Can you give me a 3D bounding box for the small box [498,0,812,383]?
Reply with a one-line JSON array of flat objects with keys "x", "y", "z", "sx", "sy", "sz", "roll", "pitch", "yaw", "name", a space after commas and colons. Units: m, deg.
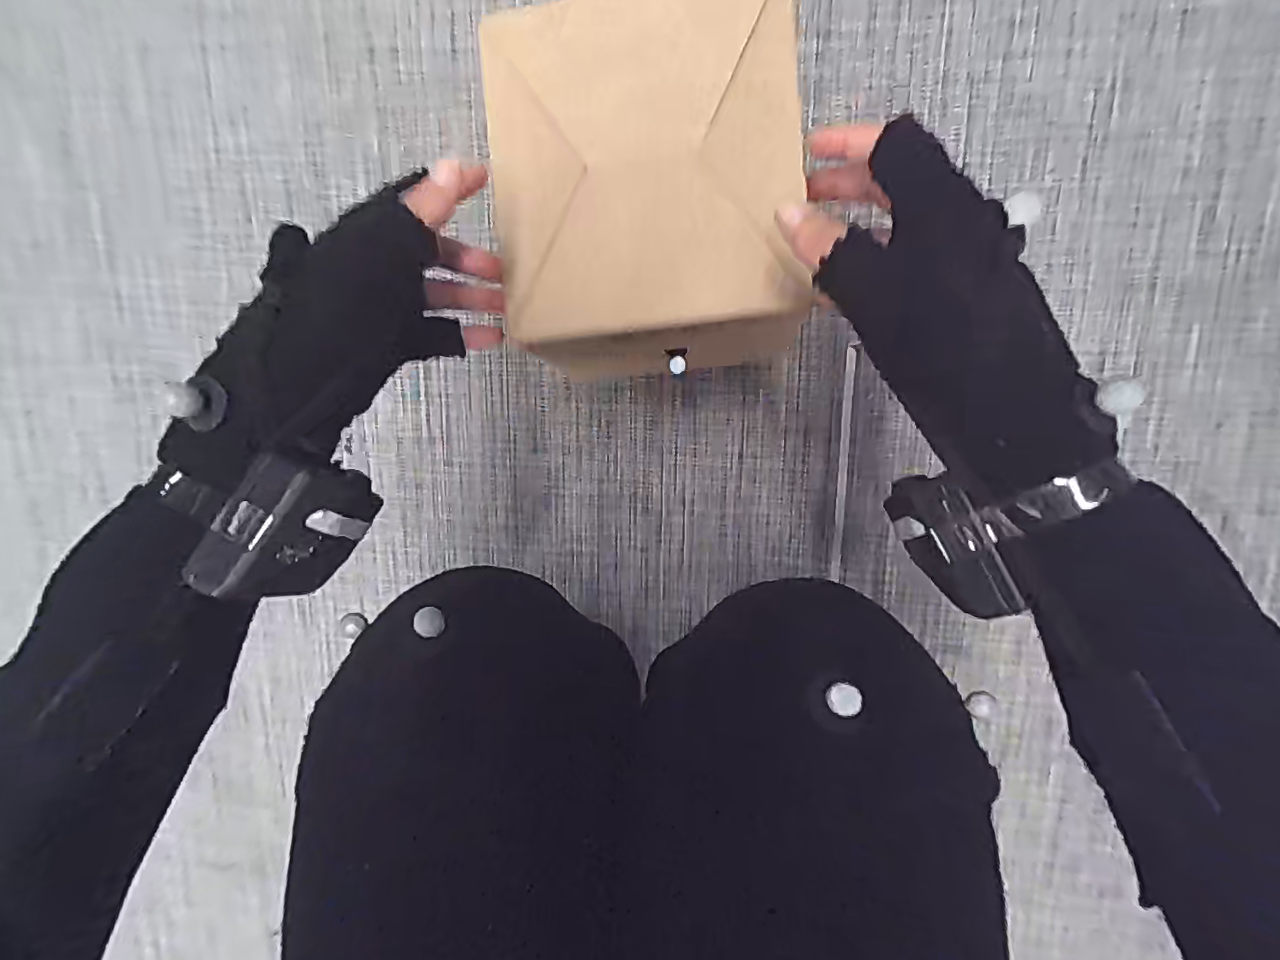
[{"x": 0.017, "y": -0.169, "z": 0.370, "sx": 0.168, "sy": 0.176, "sz": 0.179, "roll": -5, "pitch": 96, "yaw": 9, "name": "small box"}]
